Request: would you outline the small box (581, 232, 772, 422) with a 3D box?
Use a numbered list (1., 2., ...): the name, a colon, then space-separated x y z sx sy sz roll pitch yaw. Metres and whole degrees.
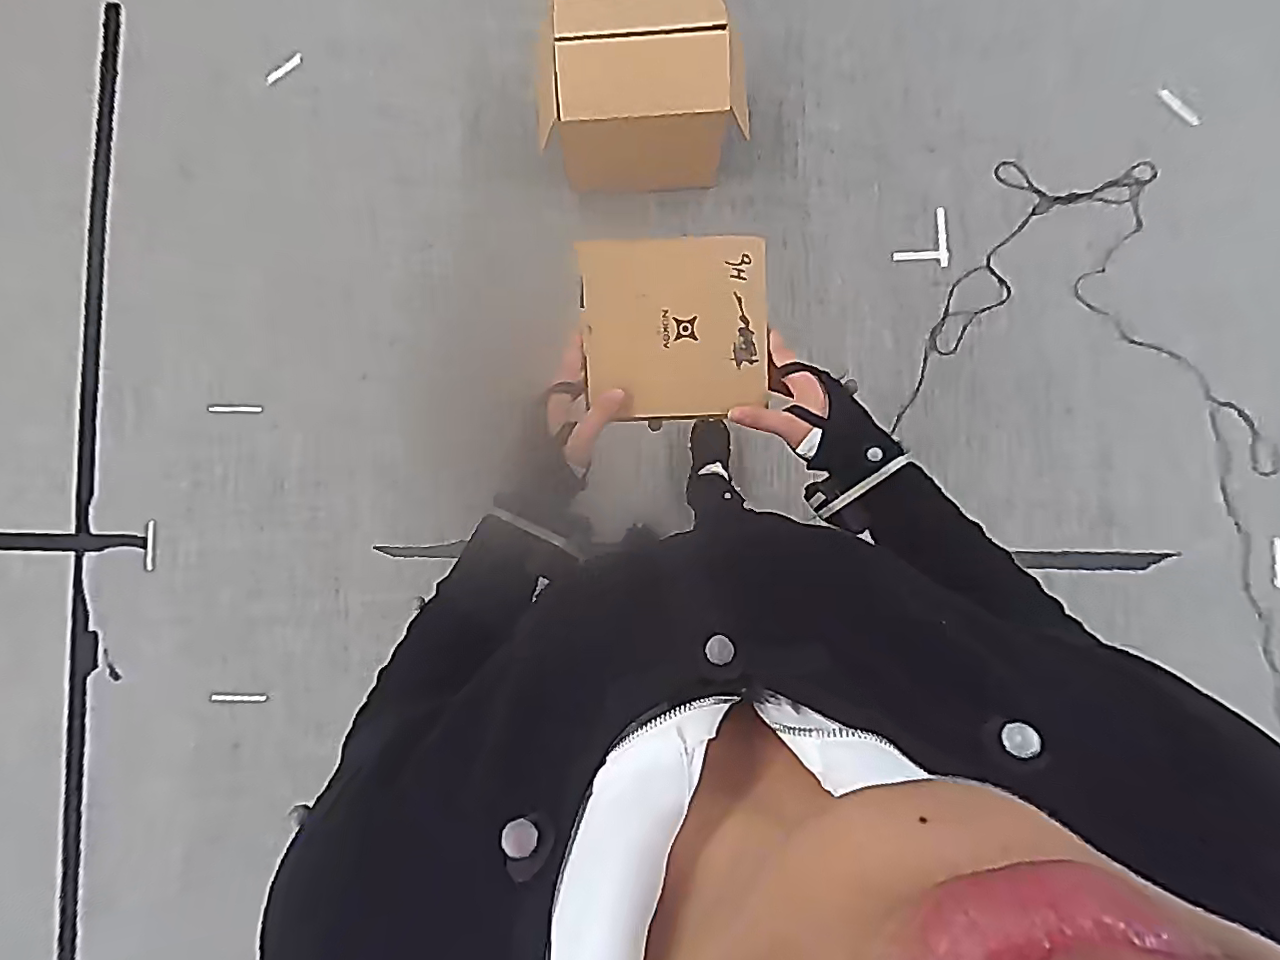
1. small box: 0.031 -0.149 0.577 0.179 0.176 0.168 -2 94 -4
